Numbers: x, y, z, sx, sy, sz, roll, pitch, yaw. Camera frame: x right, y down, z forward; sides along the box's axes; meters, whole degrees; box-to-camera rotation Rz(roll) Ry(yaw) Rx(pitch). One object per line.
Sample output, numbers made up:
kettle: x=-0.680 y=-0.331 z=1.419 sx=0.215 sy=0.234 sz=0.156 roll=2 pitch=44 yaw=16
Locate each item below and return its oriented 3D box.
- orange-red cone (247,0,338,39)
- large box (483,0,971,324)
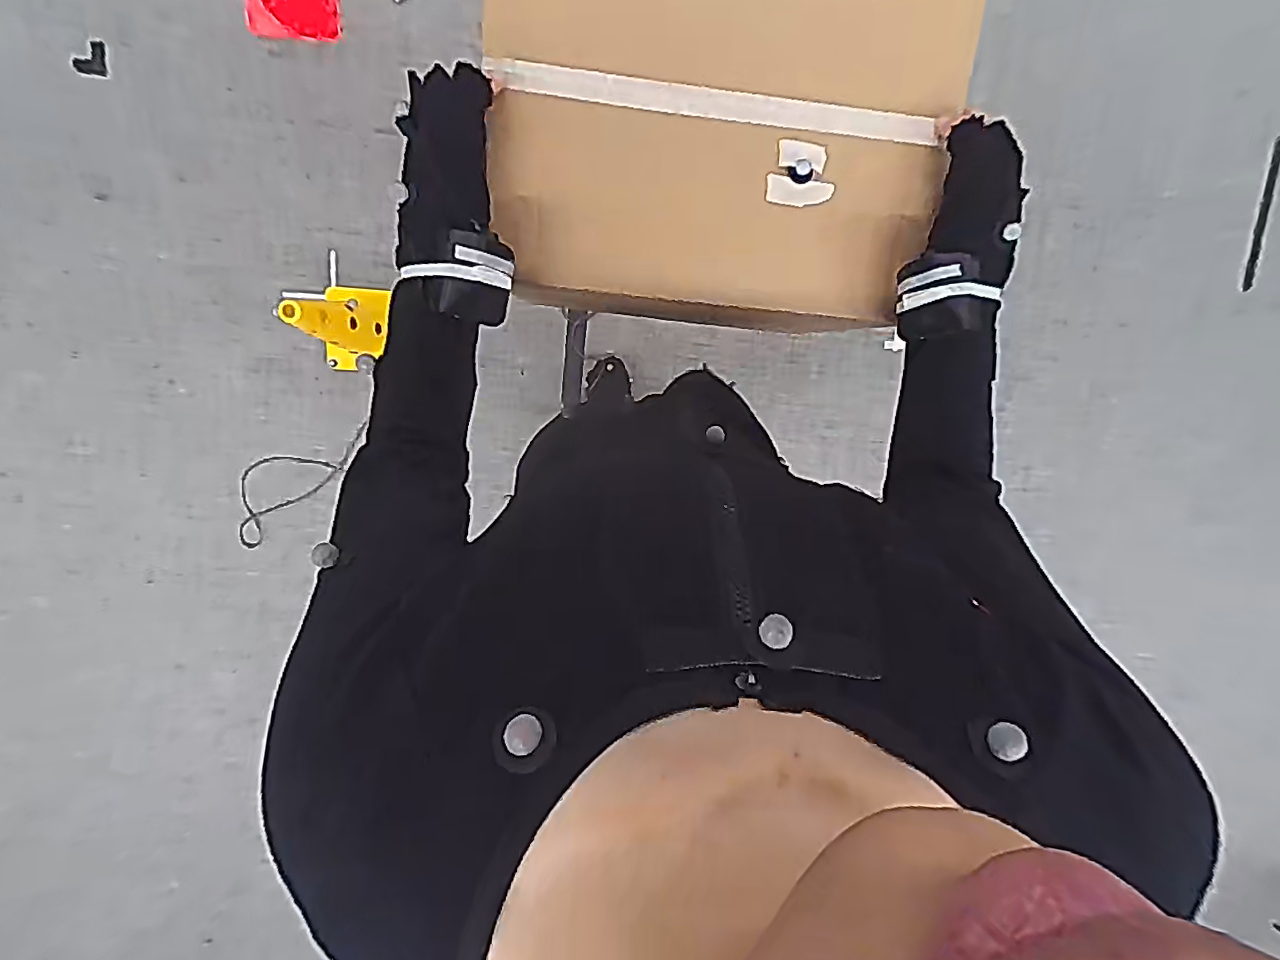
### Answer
orange-red cone: x=-0.773 y=-1.073 z=1.044 sx=0.198 sy=0.360 sz=0.199 roll=2 pitch=101 yaw=-4
large box: x=0.059 y=-0.355 z=0.599 sx=0.408 sy=0.320 sz=0.320 roll=4 pitch=104 yaw=-6
